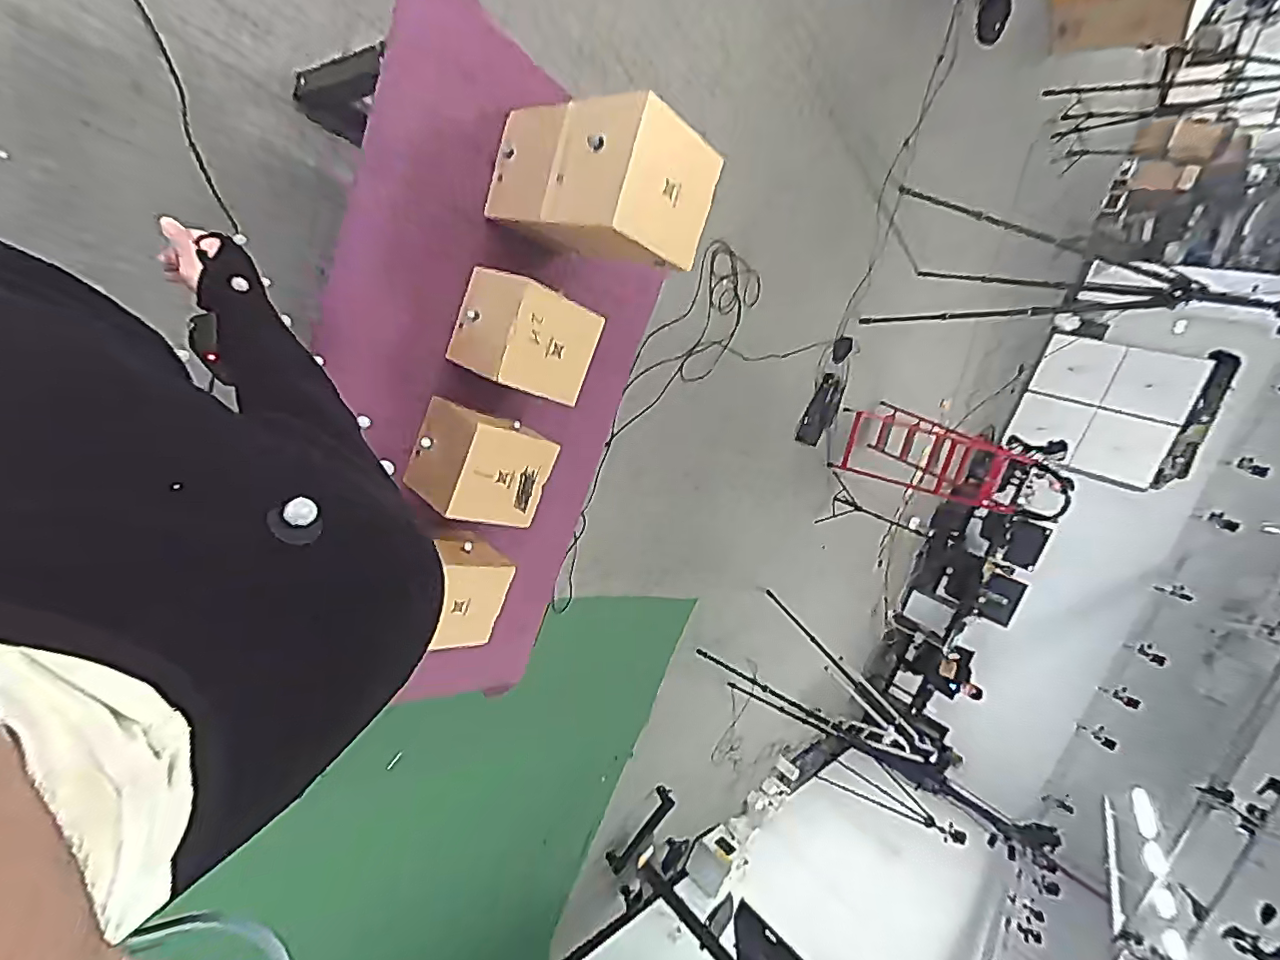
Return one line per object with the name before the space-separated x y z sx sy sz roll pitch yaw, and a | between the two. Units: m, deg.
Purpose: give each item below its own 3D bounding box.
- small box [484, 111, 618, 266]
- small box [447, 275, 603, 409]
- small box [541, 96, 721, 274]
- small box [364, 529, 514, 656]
small box | -0.126 -0.474 0.893 0.179 0.176 0.168 4 107 -48
small box | -0.202 -0.241 0.944 0.179 0.176 0.168 13 101 -50
small box | -0.017 -0.417 0.789 0.179 0.176 0.168 4 107 -50
small box | -0.375 0.202 1.007 0.179 0.176 0.168 14 100 -51
